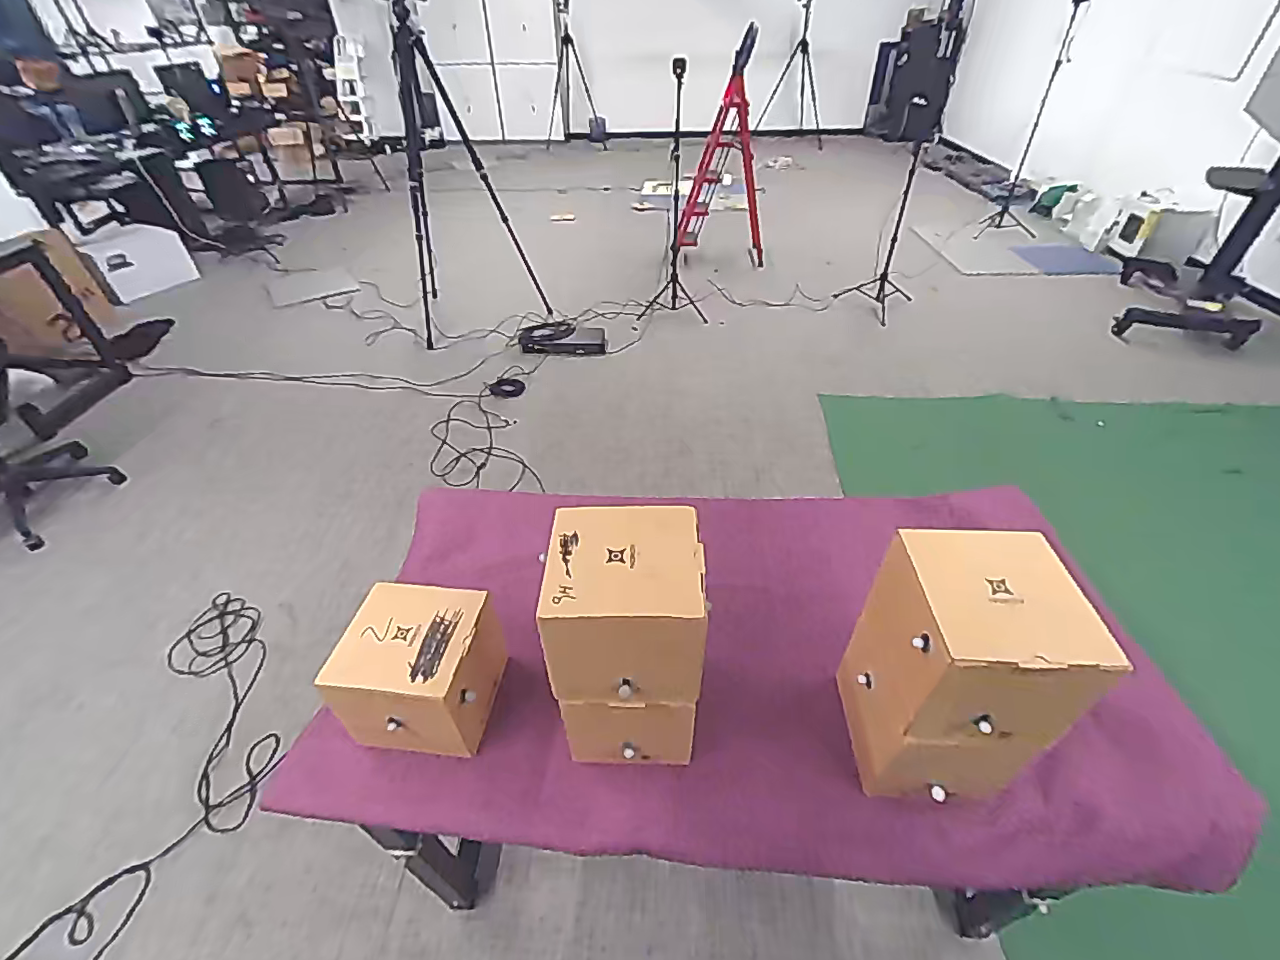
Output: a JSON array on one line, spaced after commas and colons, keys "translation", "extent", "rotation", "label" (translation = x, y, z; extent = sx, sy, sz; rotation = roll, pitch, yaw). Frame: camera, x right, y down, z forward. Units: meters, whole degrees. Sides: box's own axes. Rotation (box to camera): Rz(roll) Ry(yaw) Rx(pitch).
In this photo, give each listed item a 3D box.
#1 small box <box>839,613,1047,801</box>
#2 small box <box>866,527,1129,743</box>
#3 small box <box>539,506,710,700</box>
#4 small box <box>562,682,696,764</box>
[{"translation": [0.382, 0.301, 0.725], "extent": [0.168, 0.176, 0.179], "rotation": [1, 41, 3], "label": "small box"}, {"translation": [0.380, 0.175, 0.622], "extent": [0.168, 0.176, 0.179], "rotation": [1, 41, 3], "label": "small box"}, {"translation": [-0.014, 0.150, 0.657], "extent": [0.179, 0.176, 0.168], "rotation": [0, 39, 1], "label": "small box"}, {"translation": [-0.011, 0.274, 0.764], "extent": [0.168, 0.176, 0.179], "rotation": [0, 40, 2], "label": "small box"}]
